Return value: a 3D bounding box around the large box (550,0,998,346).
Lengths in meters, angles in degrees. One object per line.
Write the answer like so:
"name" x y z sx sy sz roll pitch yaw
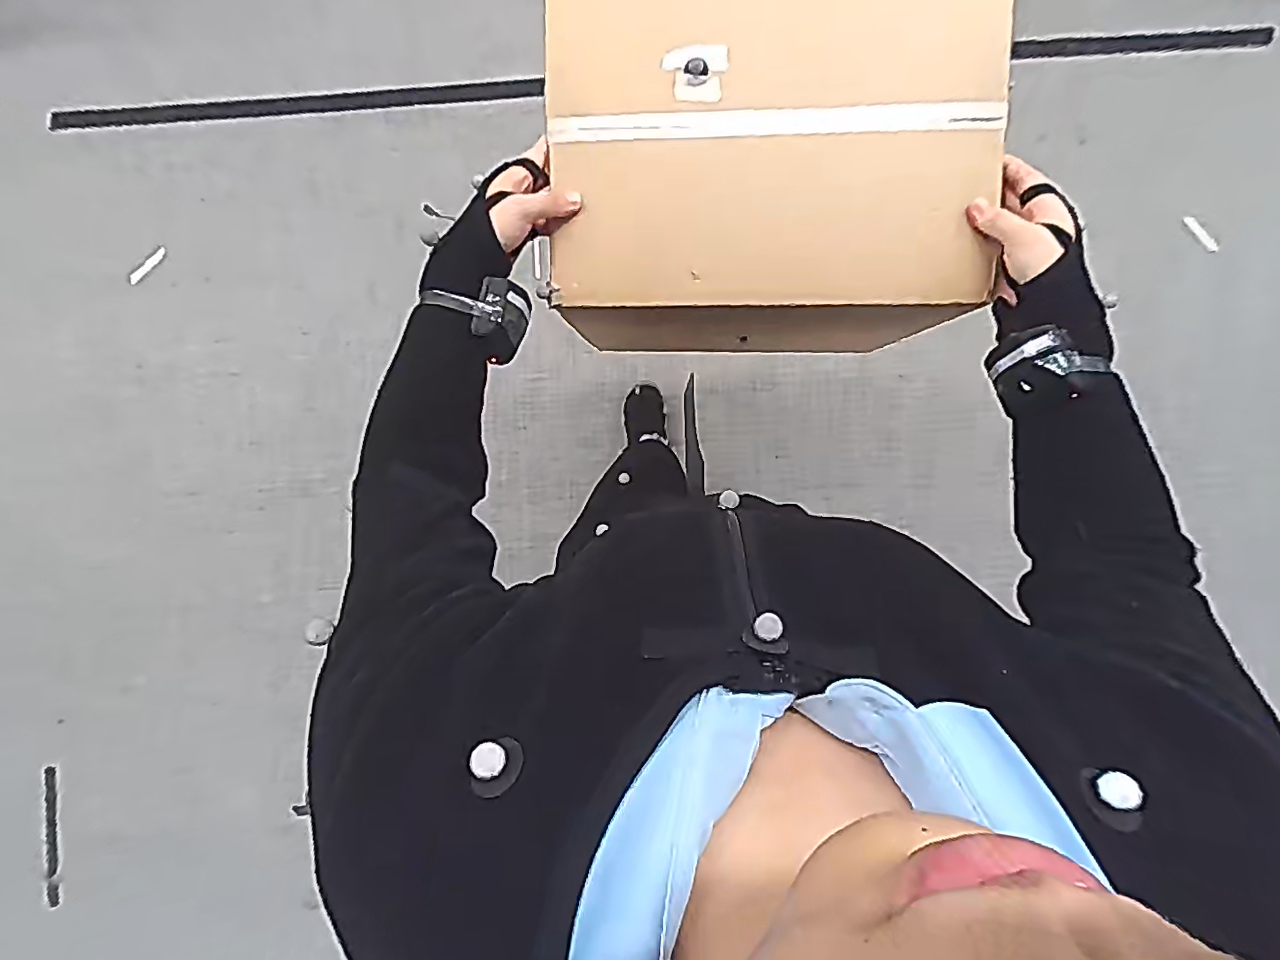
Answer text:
"large box" 0.130 -0.339 0.644 0.408 0.320 0.320 1 94 5
